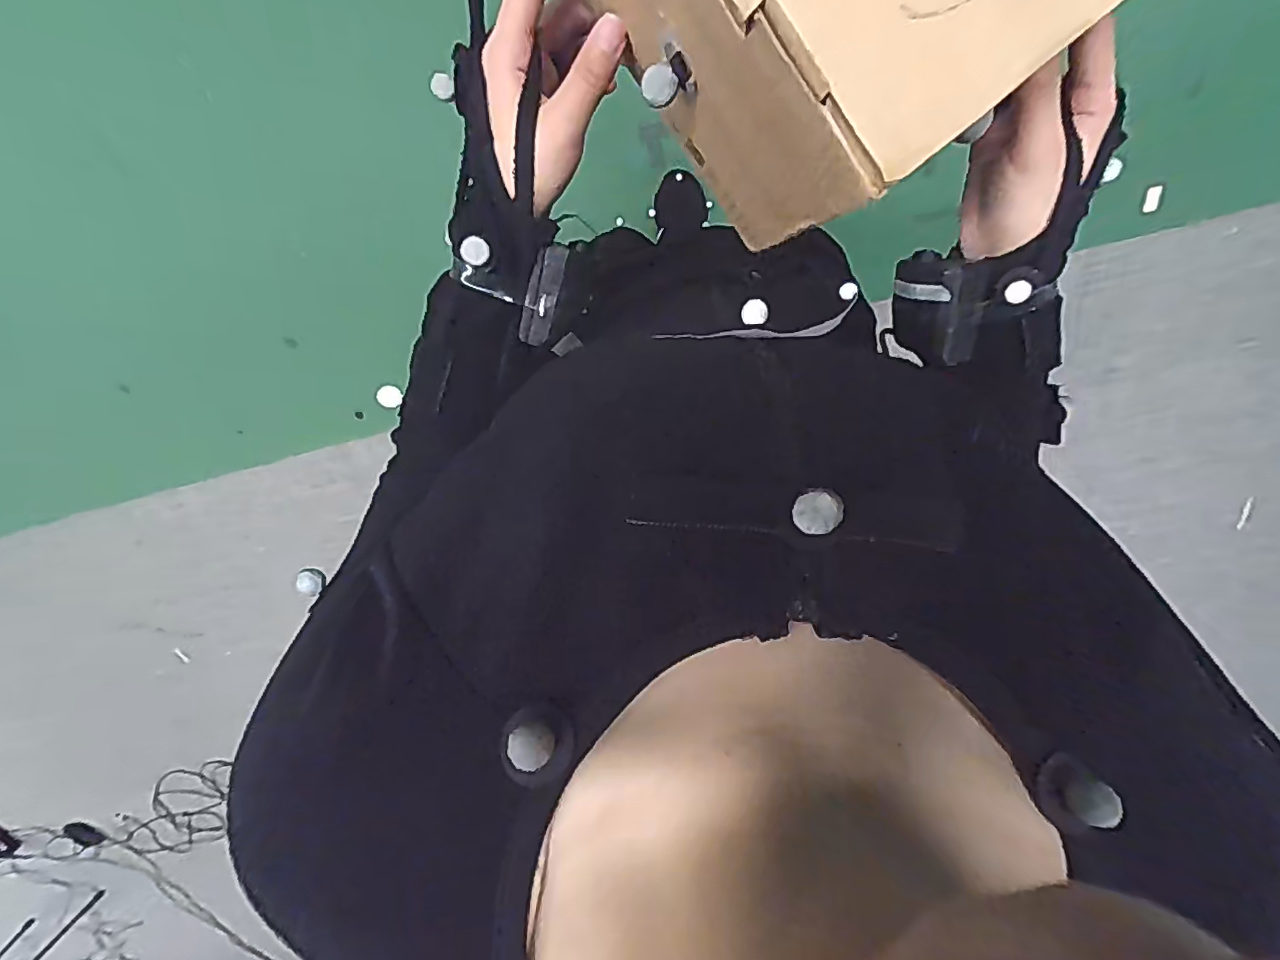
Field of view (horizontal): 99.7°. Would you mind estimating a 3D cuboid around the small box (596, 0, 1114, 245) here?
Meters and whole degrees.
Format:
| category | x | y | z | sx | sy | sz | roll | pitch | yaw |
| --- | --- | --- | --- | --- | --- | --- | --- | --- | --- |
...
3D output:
| category | x | y | z | sx | sy | sz | roll | pitch | yaw |
| --- | --- | --- | --- | --- | --- | --- | --- | --- | --- |
| small box | 0.082 | -0.214 | 0.200 | 0.179 | 0.176 | 0.168 | -37 | 104 | 11 |
